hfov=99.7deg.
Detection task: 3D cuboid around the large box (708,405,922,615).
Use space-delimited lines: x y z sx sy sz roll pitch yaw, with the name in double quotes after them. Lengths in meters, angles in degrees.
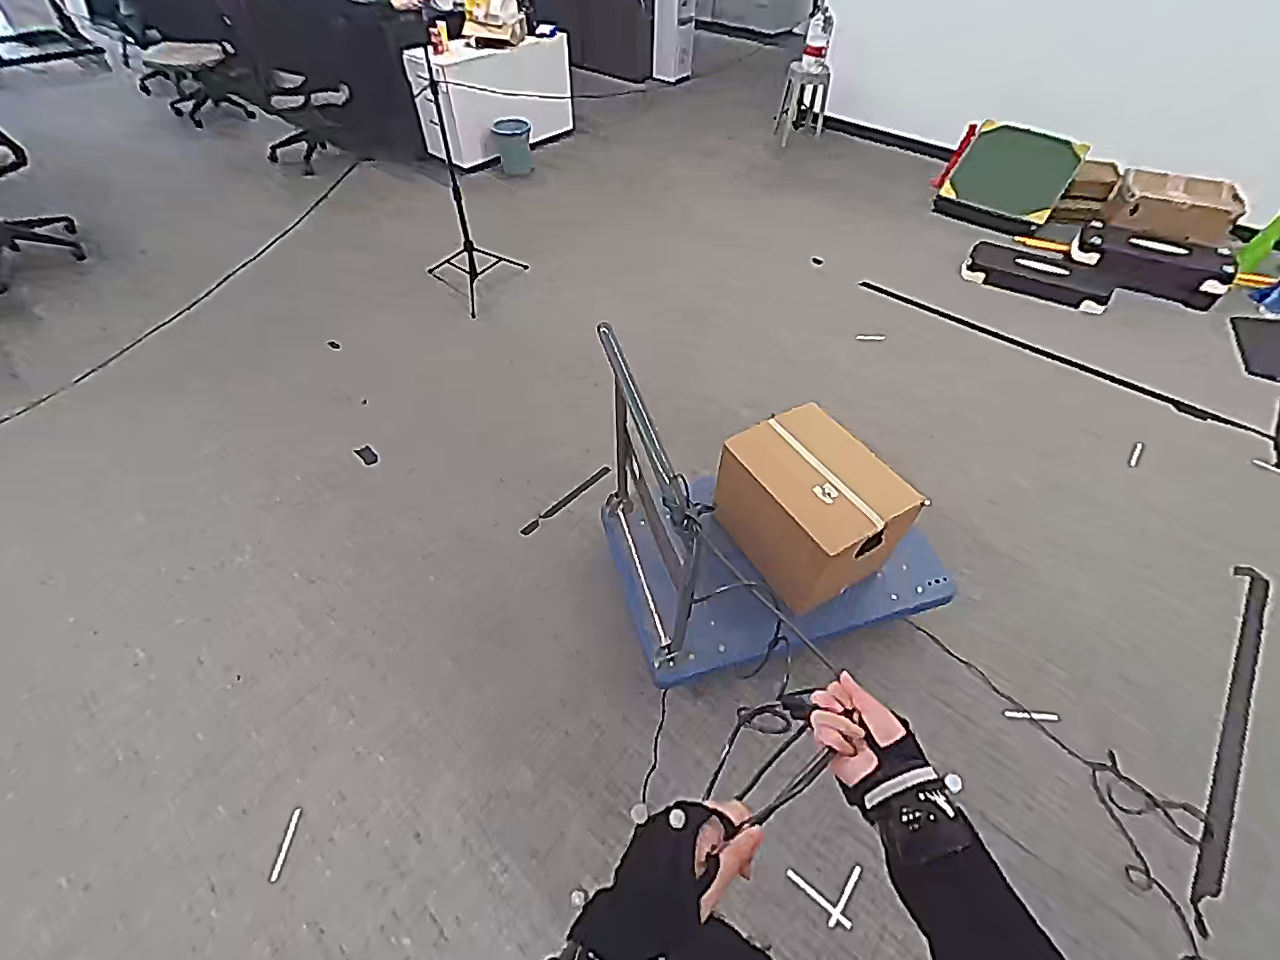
0.434 0.074 1.449 0.320 0.320 0.408 -25 56 -19 "large box"
